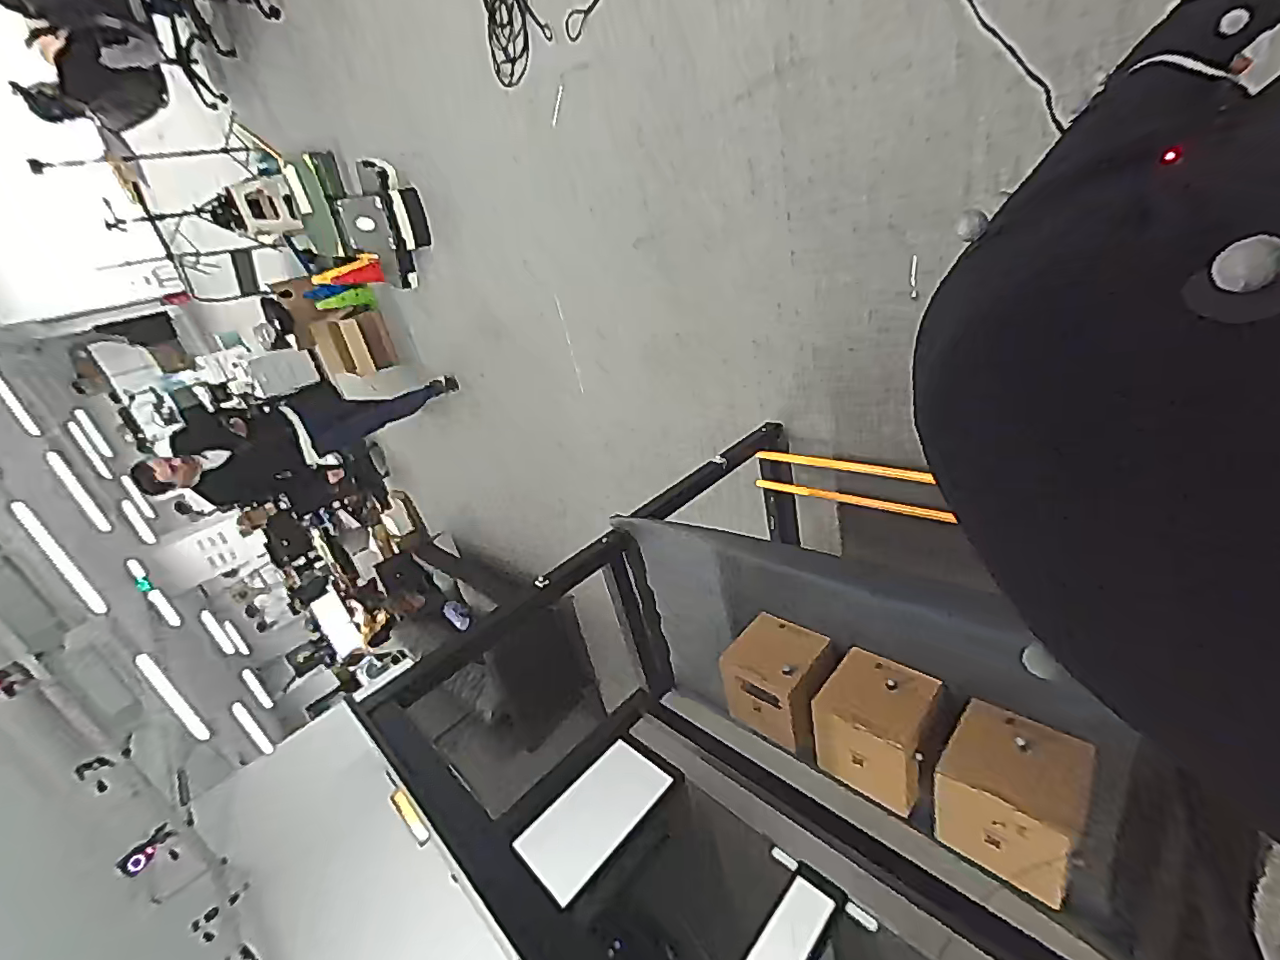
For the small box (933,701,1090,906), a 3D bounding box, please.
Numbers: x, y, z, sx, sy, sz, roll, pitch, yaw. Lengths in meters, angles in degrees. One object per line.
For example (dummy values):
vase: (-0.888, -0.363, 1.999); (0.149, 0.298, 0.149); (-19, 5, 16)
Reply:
small box: (0.576, 0.490, 0.844); (0.168, 0.176, 0.179); (12, 125, 45)
